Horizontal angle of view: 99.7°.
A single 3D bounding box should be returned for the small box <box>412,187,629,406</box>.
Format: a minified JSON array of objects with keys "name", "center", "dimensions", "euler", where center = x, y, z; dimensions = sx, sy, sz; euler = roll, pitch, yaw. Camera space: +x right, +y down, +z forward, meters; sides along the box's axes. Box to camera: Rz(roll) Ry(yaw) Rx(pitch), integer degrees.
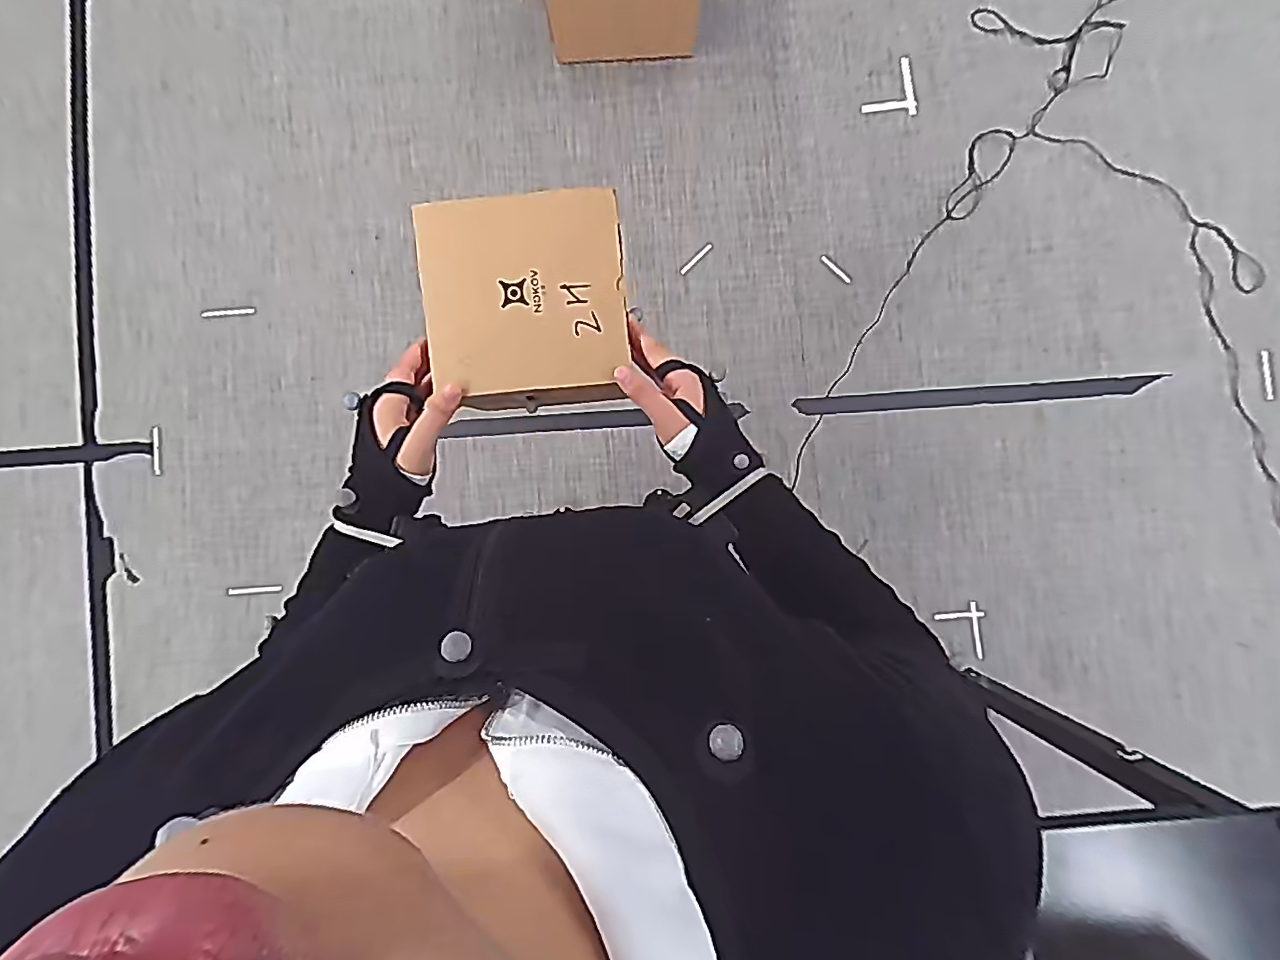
[{"name":"small box","center":[-0.104,-0.167,0.545],"dimensions":[0.179,0.176,0.168],"euler":[-5,94,-1]}]
